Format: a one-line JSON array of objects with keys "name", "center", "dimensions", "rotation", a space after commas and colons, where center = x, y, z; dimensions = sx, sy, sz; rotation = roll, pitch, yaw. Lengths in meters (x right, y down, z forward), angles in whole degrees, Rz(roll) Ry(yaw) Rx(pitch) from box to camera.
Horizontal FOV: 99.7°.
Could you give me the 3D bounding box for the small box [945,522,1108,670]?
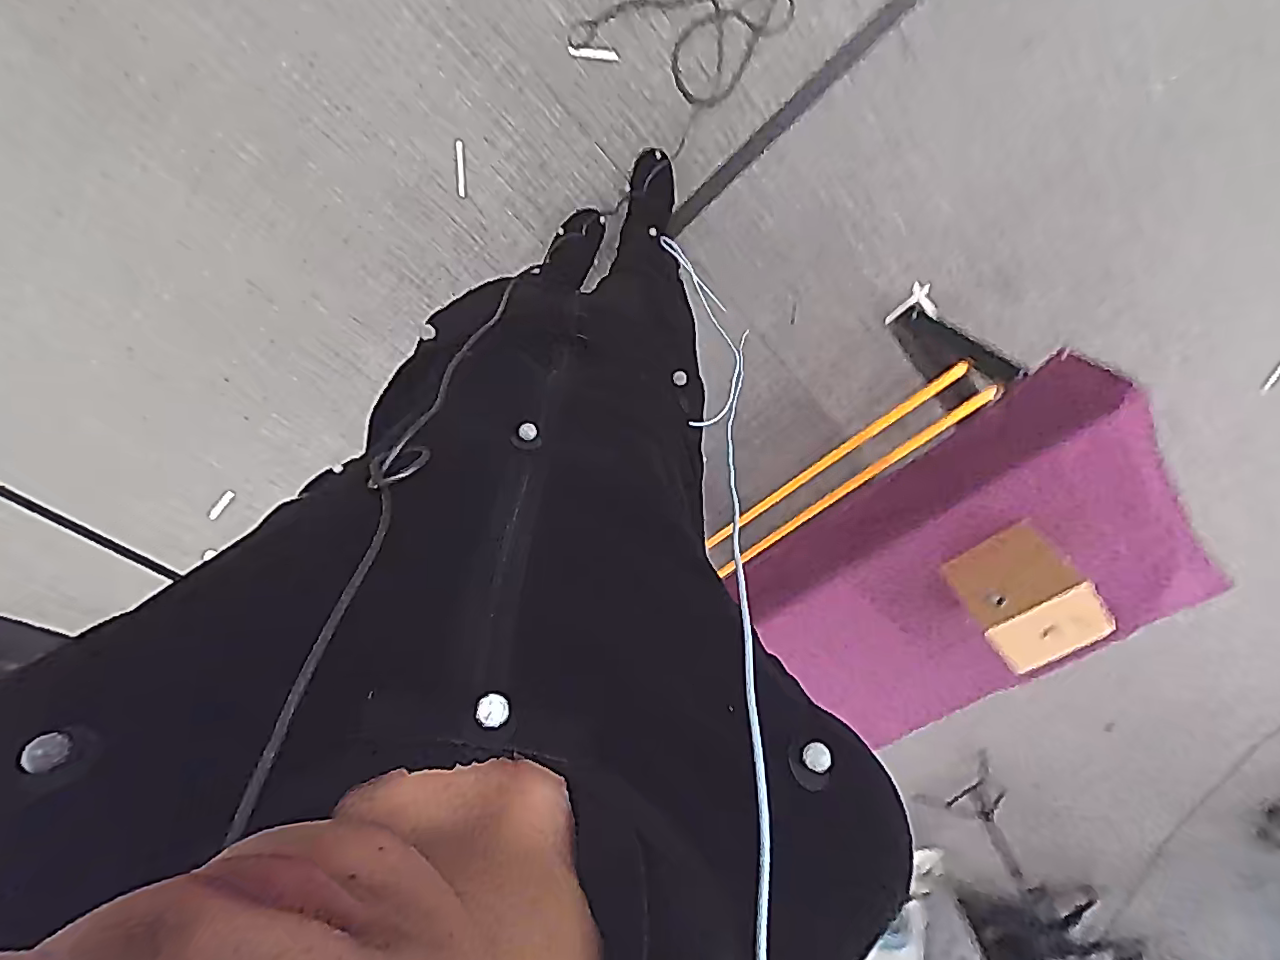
[{"name": "small box", "center": [0.707, 0.215, 1.013], "dimensions": [0.179, 0.176, 0.168], "rotation": [-37, 118, 20]}]
